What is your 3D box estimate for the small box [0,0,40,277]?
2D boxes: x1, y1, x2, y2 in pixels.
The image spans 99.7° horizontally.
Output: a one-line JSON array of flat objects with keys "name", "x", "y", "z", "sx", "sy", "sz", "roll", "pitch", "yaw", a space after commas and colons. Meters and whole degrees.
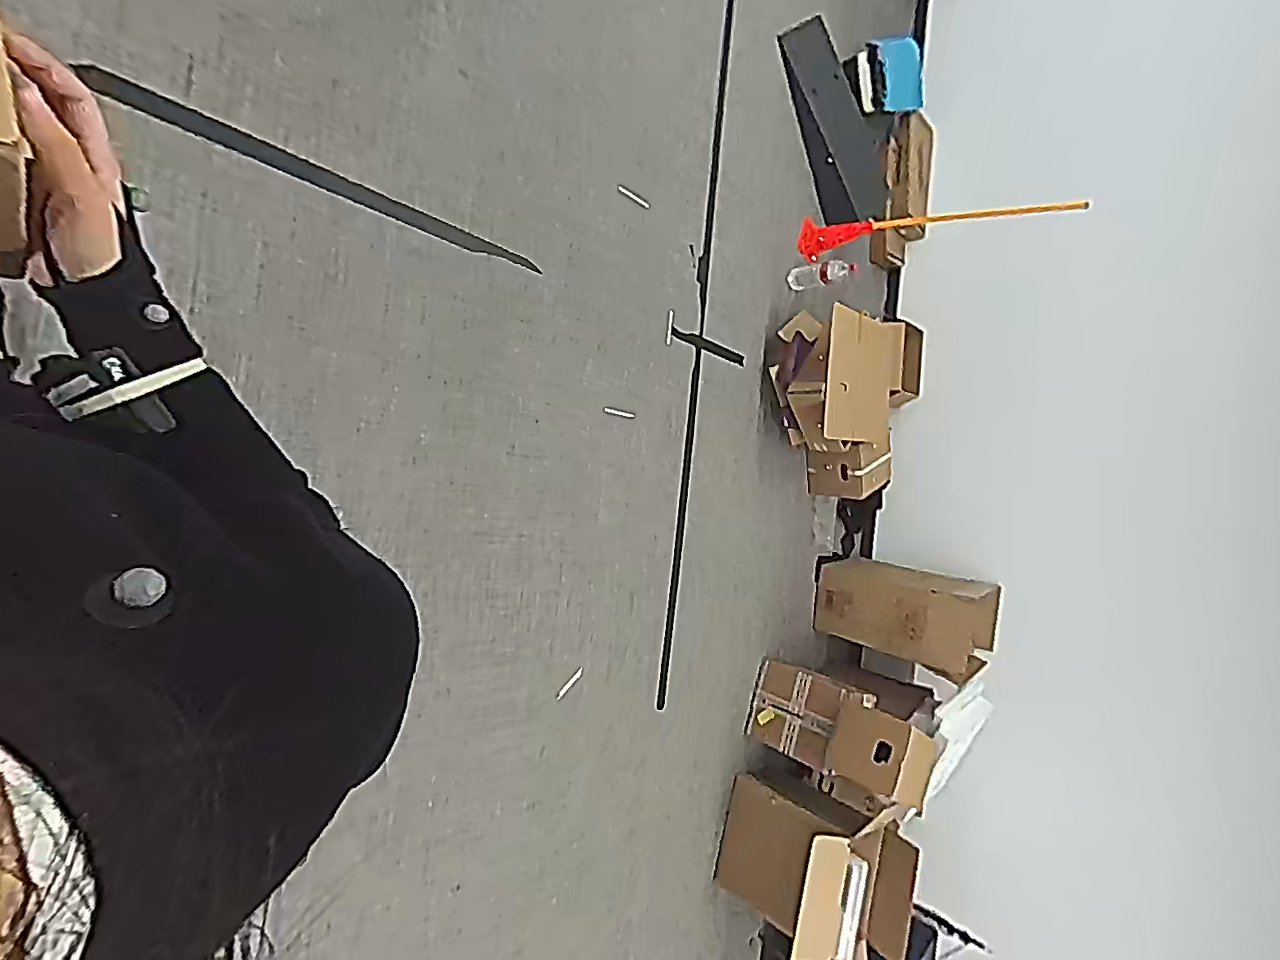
[{"name": "small box", "x": -0.406, "y": -0.211, "z": 0.245, "sx": 0.168, "sy": 0.176, "sz": 0.179, "roll": -10, "pitch": 93, "yaw": -49}]
